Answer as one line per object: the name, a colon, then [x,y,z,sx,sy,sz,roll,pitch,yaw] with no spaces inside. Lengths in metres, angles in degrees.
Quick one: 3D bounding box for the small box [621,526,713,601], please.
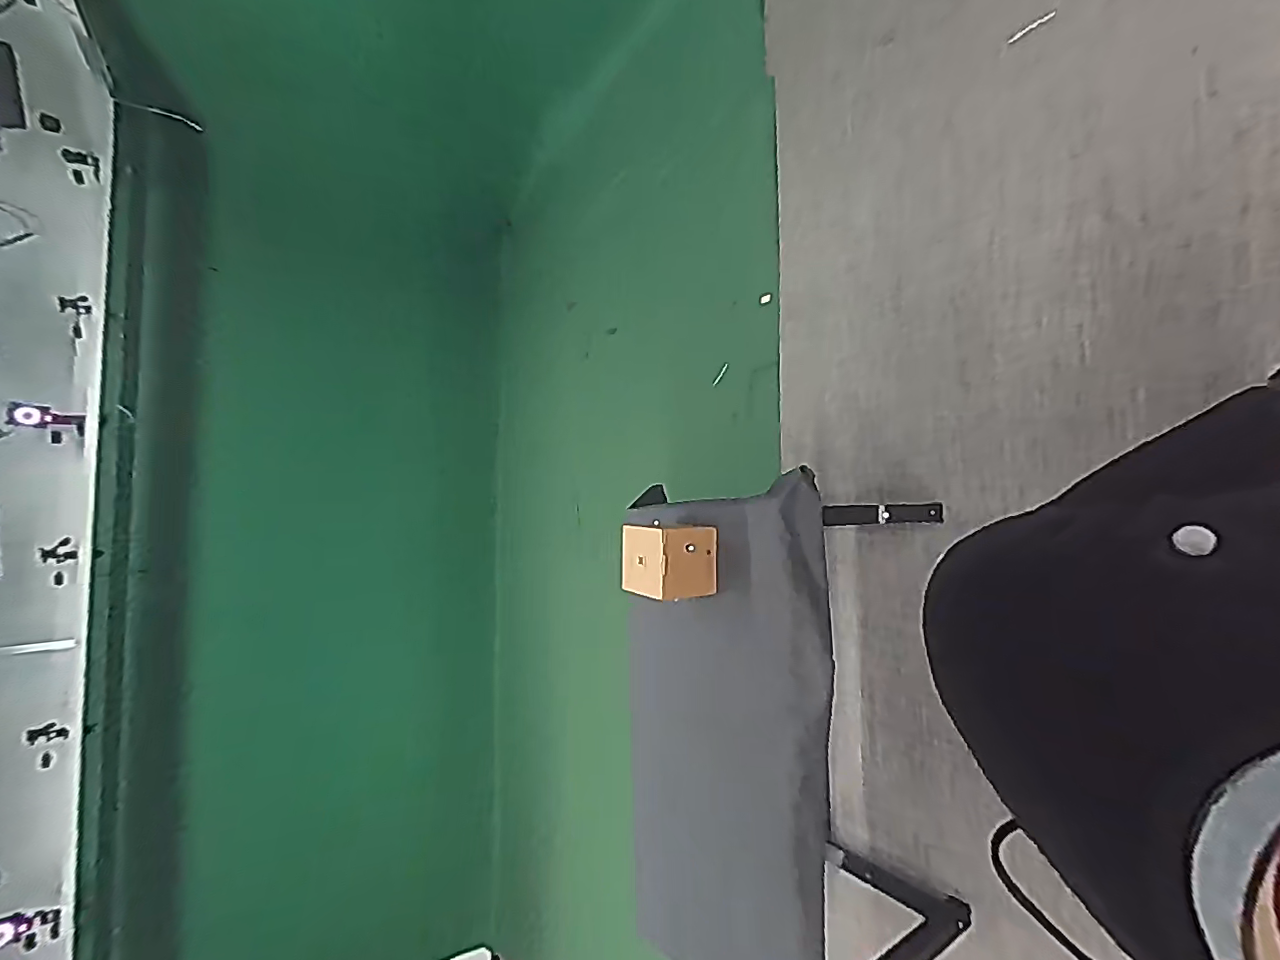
small box: [0.068,0.201,1.349,0.179,0.176,0.168,-3,84,57]
